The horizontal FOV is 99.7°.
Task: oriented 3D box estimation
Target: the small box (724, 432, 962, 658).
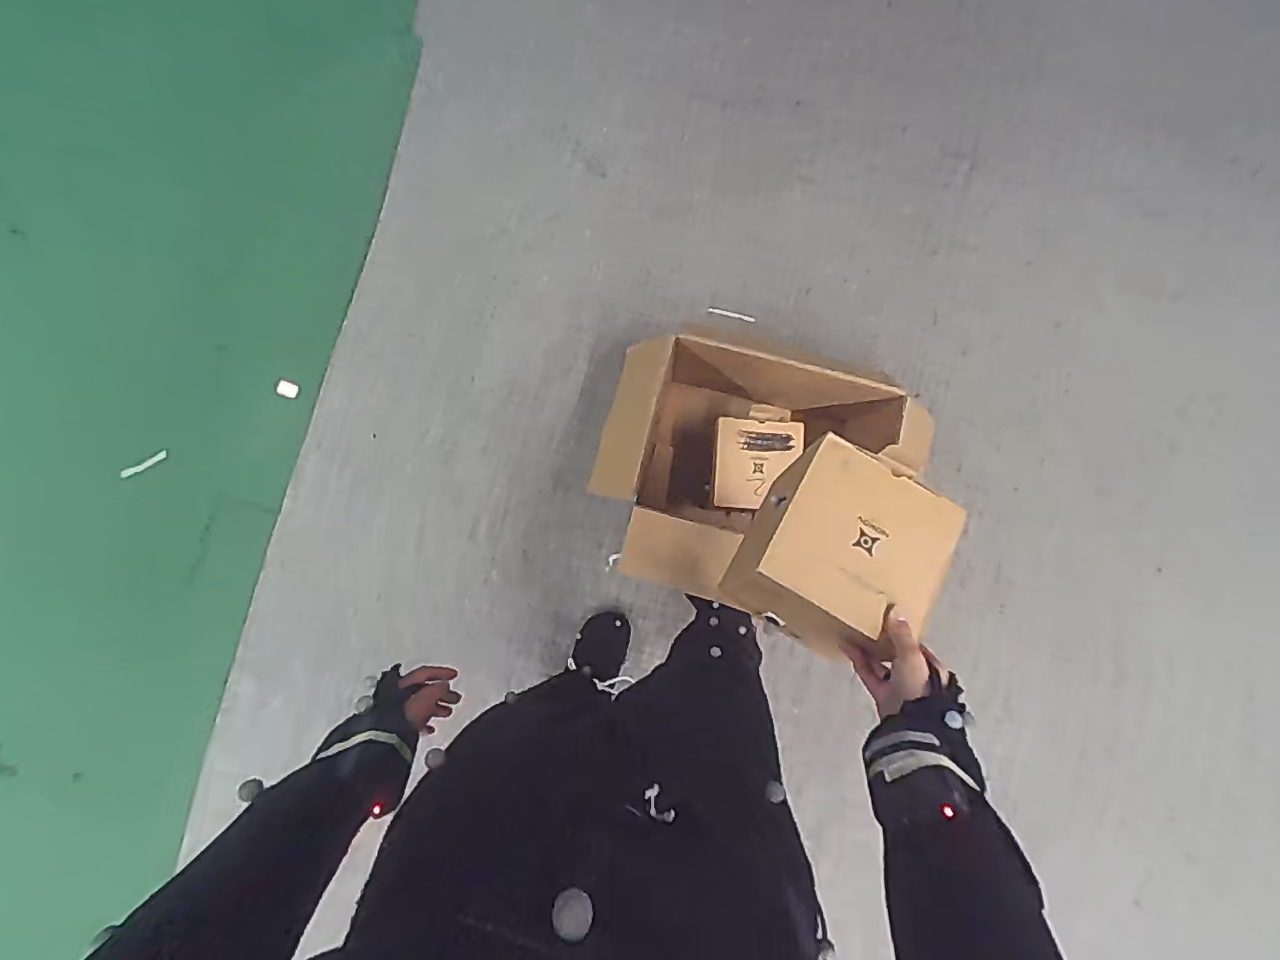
[{"bbox_3d":[0.215,0.083,0.613,0.168,0.176,0.179,30,70,5],"label":"small box"}]
